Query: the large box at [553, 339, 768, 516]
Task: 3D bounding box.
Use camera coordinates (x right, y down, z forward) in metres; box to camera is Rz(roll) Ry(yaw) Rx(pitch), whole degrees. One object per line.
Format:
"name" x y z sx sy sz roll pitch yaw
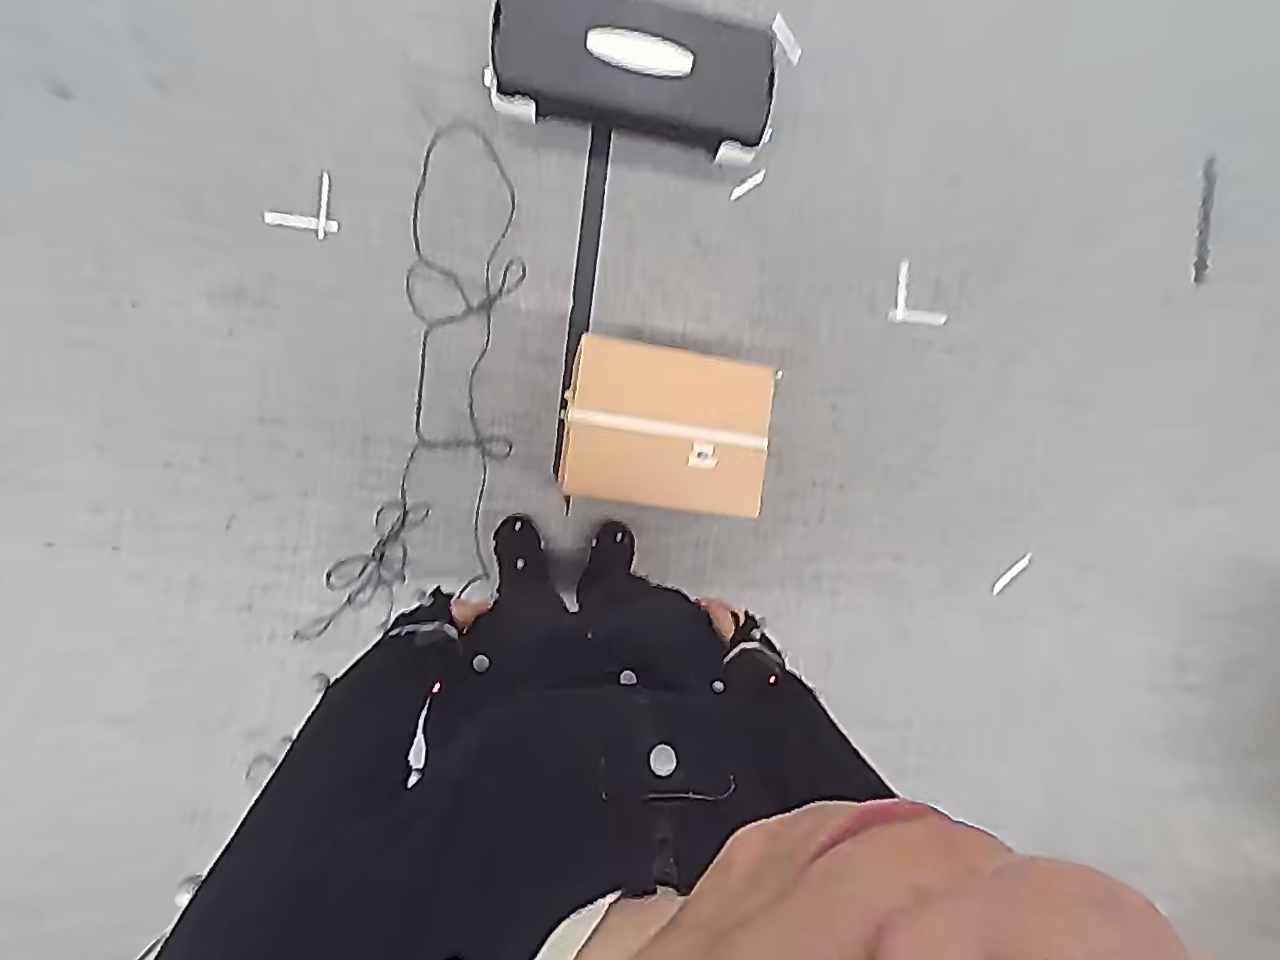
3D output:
"large box" 0.024 -0.099 1.215 0.408 0.320 0.320 8 89 -11
